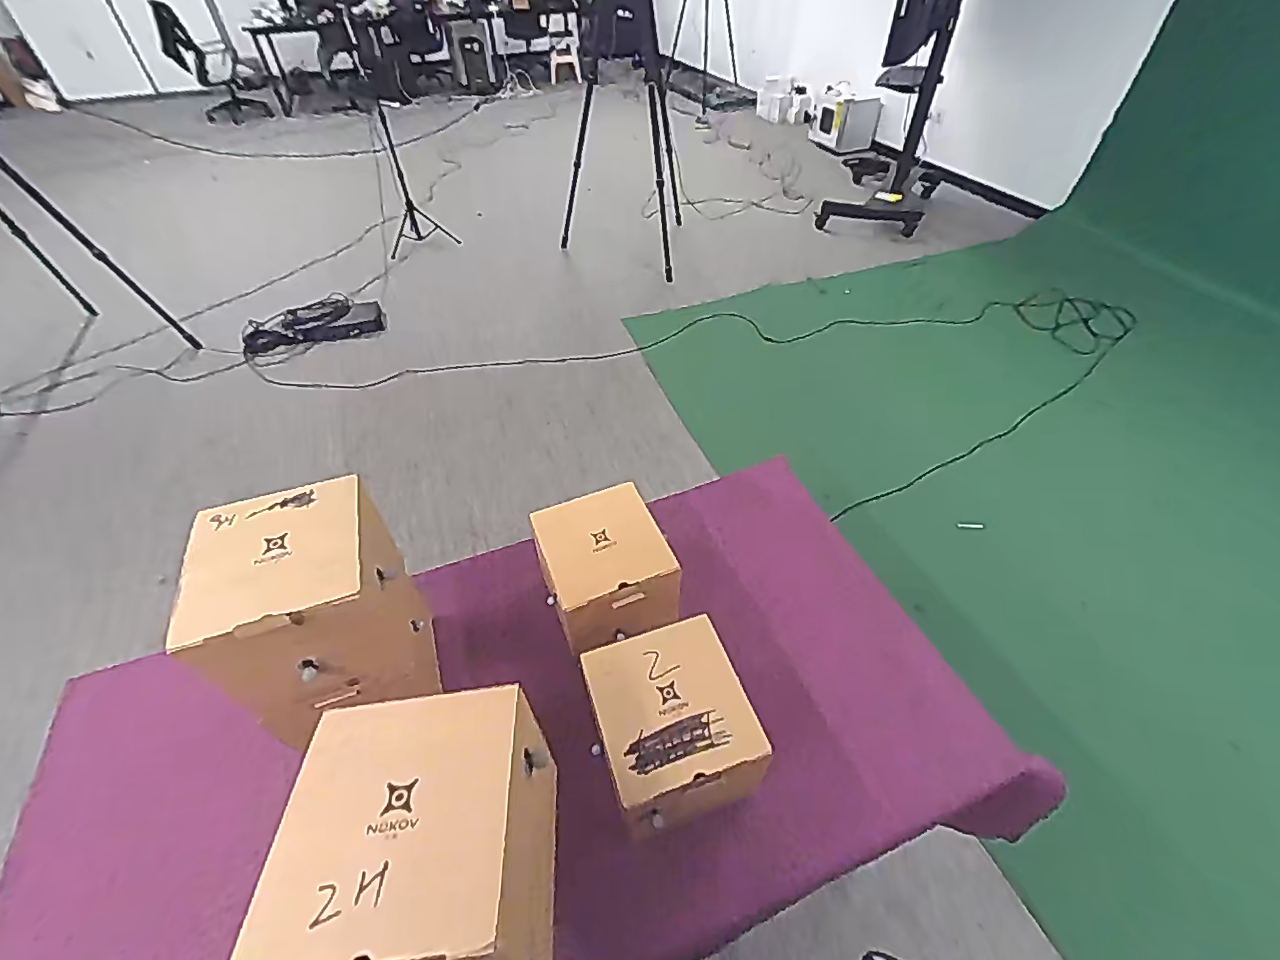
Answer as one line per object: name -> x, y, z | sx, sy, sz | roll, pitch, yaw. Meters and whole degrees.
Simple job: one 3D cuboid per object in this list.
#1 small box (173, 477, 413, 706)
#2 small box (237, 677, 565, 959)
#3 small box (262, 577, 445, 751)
small box -> -0.367, 0.131, 0.608 | 0.168, 0.176, 0.179 | -16, 49, -14
small box -> -0.159, 0.289, 0.436 | 0.168, 0.176, 0.179 | -8, 41, 1
small box -> -0.371, 0.244, 0.728 | 0.168, 0.176, 0.179 | -16, 48, -14
